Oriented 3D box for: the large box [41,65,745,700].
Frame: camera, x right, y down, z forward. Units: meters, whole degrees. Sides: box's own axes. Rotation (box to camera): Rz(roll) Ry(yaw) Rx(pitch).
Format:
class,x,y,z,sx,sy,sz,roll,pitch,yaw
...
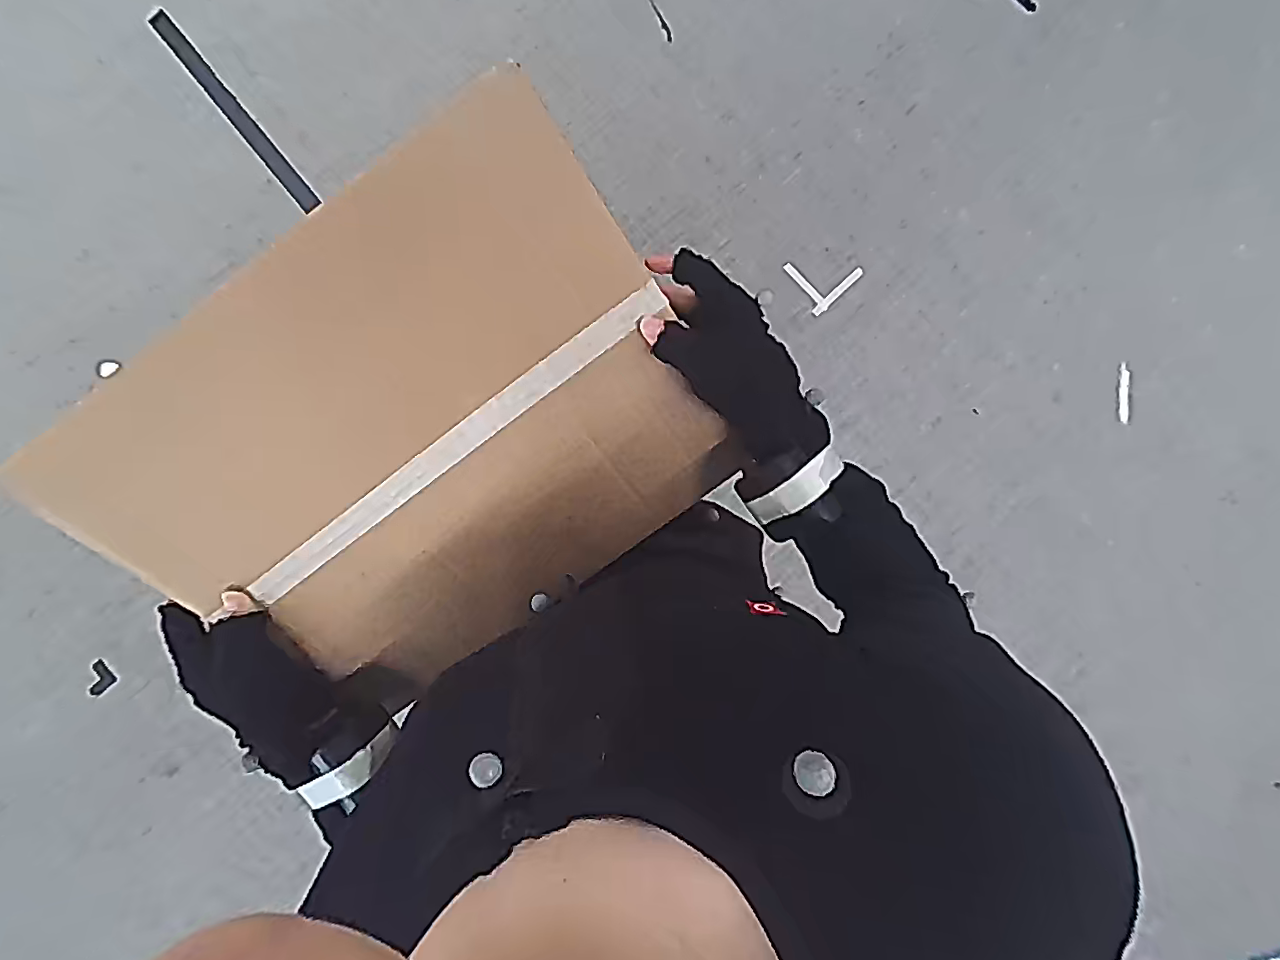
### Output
class,x,y,z,sx,sy,sz,roll,pitch,yaw
large box,-0.183,-0.082,0.532,0.408,0.320,0.320,-36,118,5
